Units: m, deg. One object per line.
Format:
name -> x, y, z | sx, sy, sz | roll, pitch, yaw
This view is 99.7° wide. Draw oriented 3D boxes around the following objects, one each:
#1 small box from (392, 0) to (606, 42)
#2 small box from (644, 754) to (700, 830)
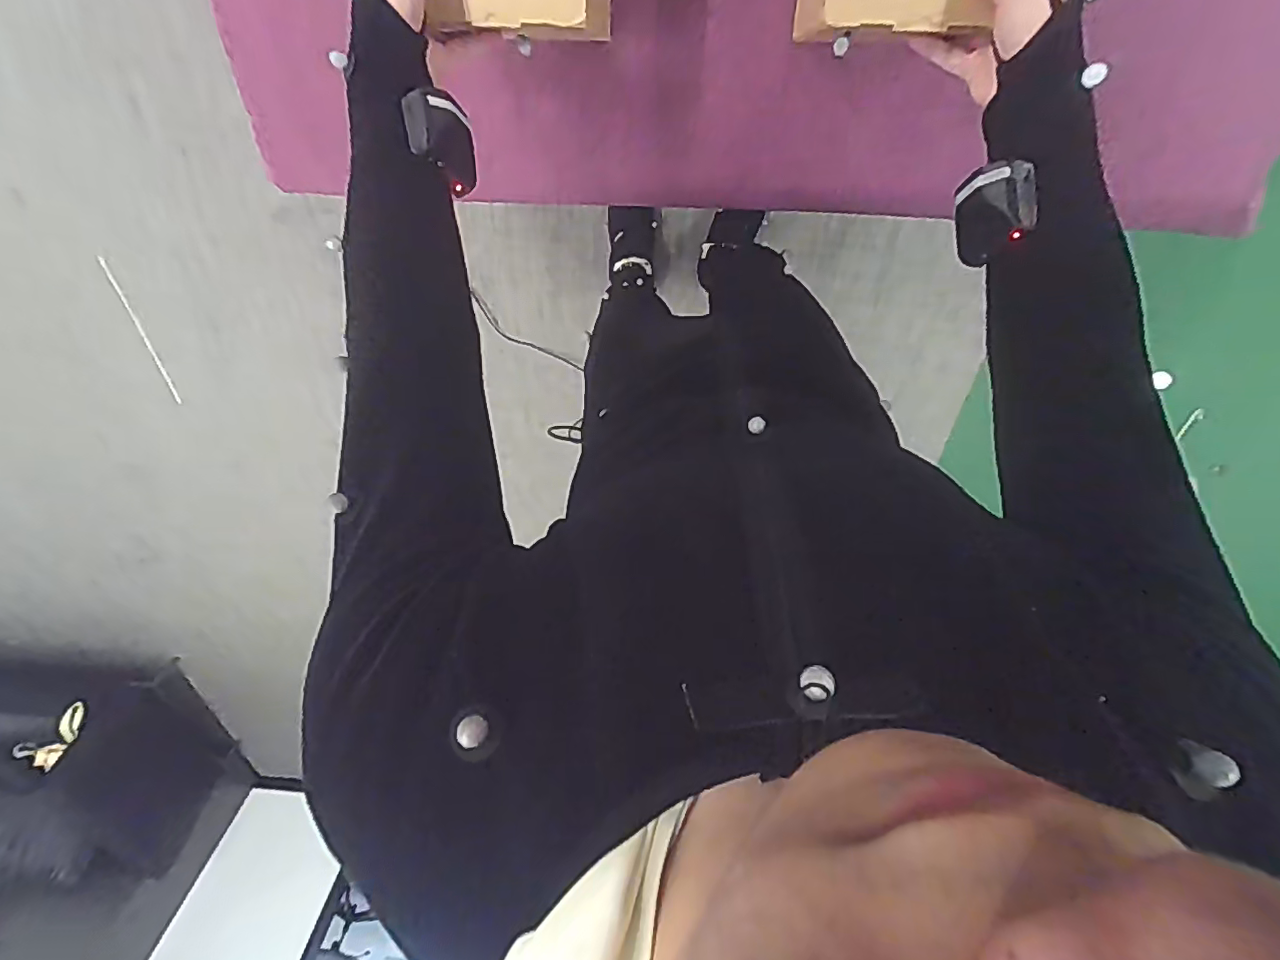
small box -> -0.120, -0.509, 0.477 | 0.168, 0.176, 0.179 | 4, 127, 2
small box -> 0.117, 1.114, 1.934 | 0.168, 0.176, 0.179 | 11, 126, -2
